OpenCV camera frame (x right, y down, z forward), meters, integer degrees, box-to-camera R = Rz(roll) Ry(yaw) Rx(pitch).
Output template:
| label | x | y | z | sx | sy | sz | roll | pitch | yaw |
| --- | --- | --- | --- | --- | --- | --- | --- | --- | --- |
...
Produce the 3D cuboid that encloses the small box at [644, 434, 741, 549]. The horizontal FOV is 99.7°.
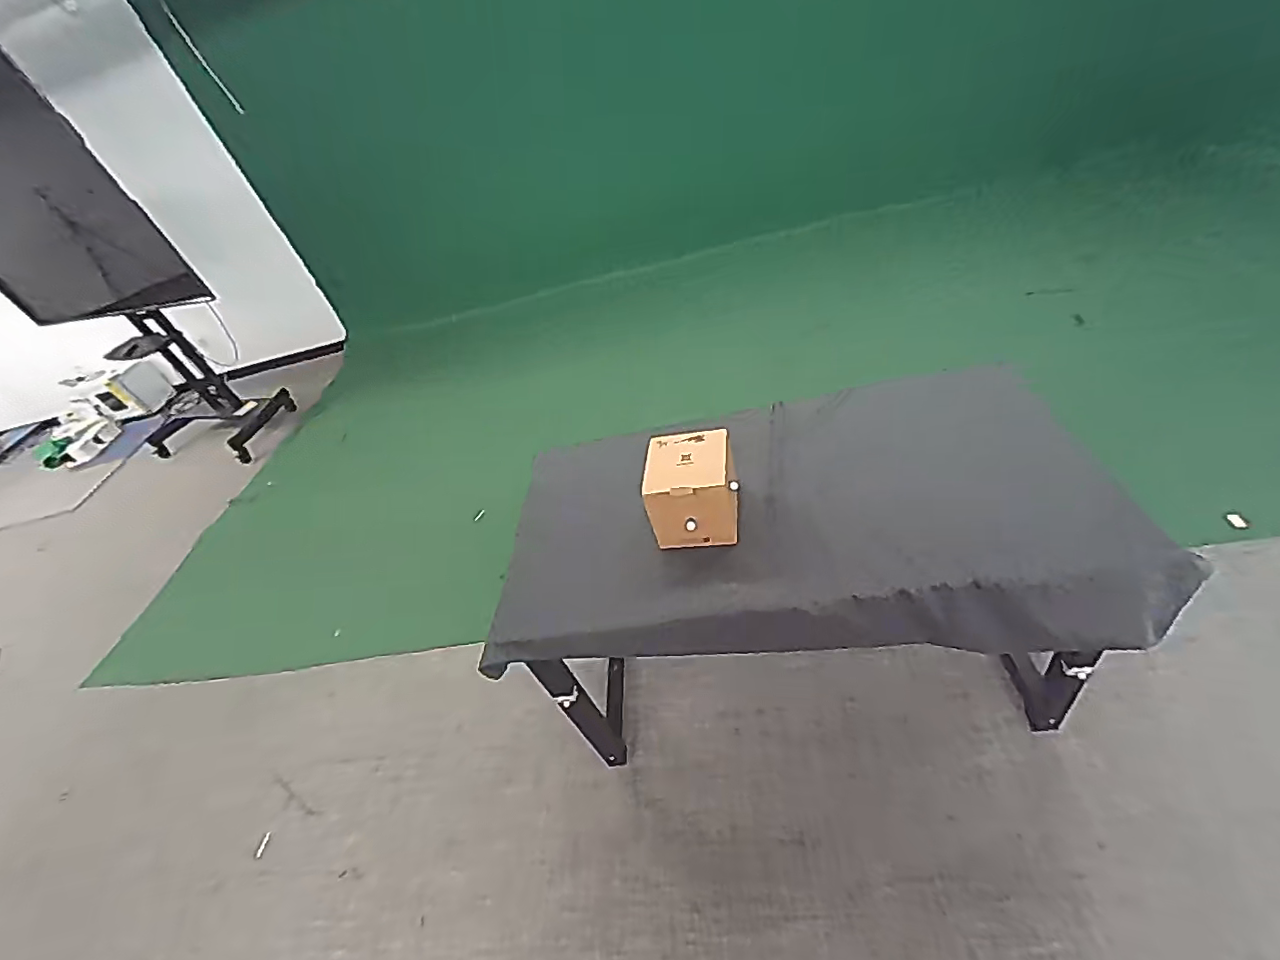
| label | x | y | z | sx | sy | sz | roll | pitch | yaw |
| --- | --- | --- | --- | --- | --- | --- | --- | --- | --- |
| small box | 0.115 | 0.031 | 1.140 | 0.168 | 0.176 | 0.179 | -9 | 41 | 14 |
